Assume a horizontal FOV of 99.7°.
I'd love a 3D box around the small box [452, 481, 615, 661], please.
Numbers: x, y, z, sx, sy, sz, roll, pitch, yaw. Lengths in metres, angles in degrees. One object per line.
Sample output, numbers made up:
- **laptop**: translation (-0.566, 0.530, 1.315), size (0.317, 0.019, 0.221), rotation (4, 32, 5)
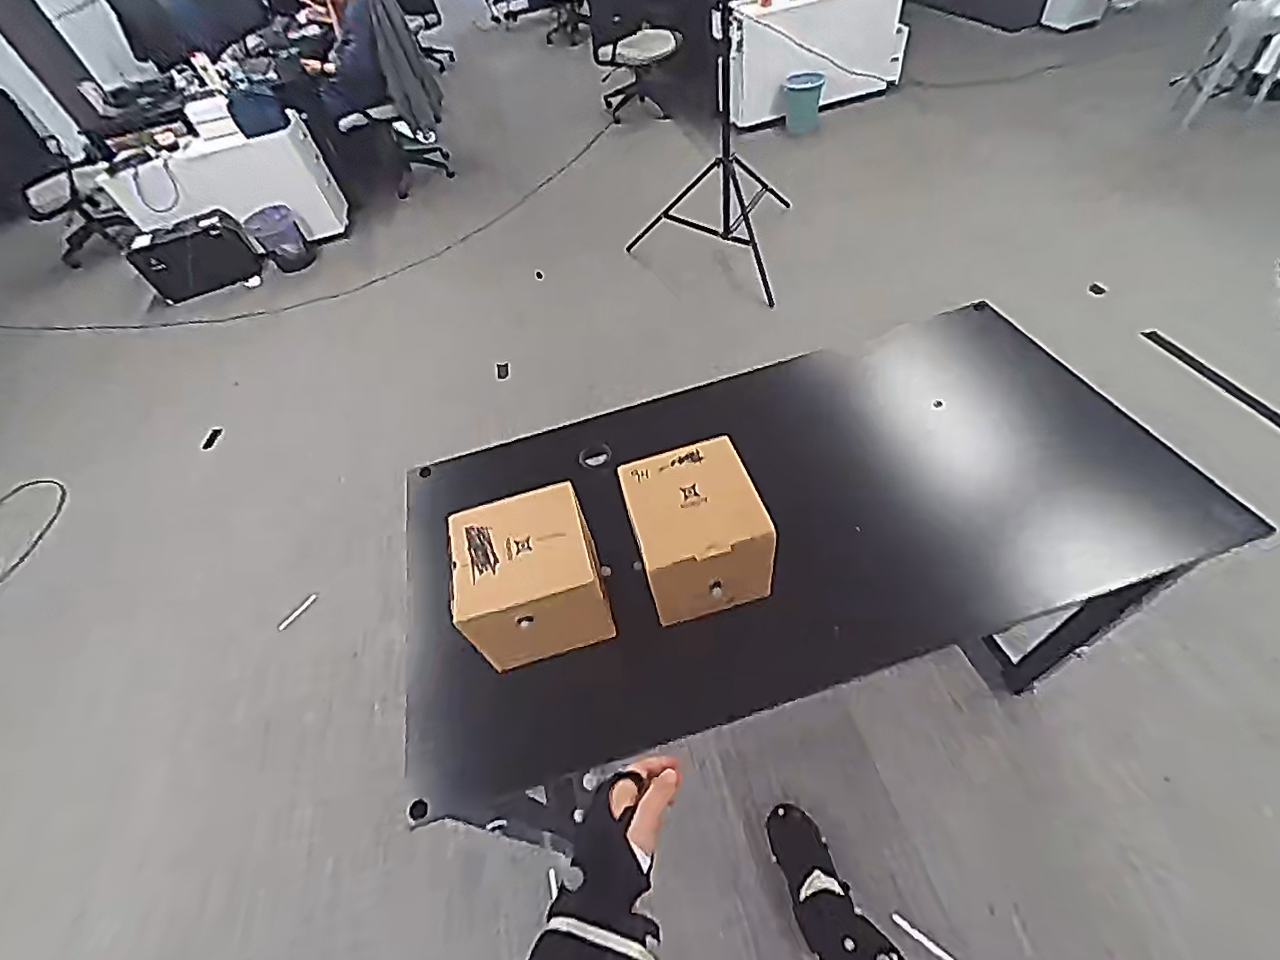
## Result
- **small box**: translation (-0.147, 0.133, 0.765), size (0.179, 0.176, 0.168), rotation (-16, 52, -4)
